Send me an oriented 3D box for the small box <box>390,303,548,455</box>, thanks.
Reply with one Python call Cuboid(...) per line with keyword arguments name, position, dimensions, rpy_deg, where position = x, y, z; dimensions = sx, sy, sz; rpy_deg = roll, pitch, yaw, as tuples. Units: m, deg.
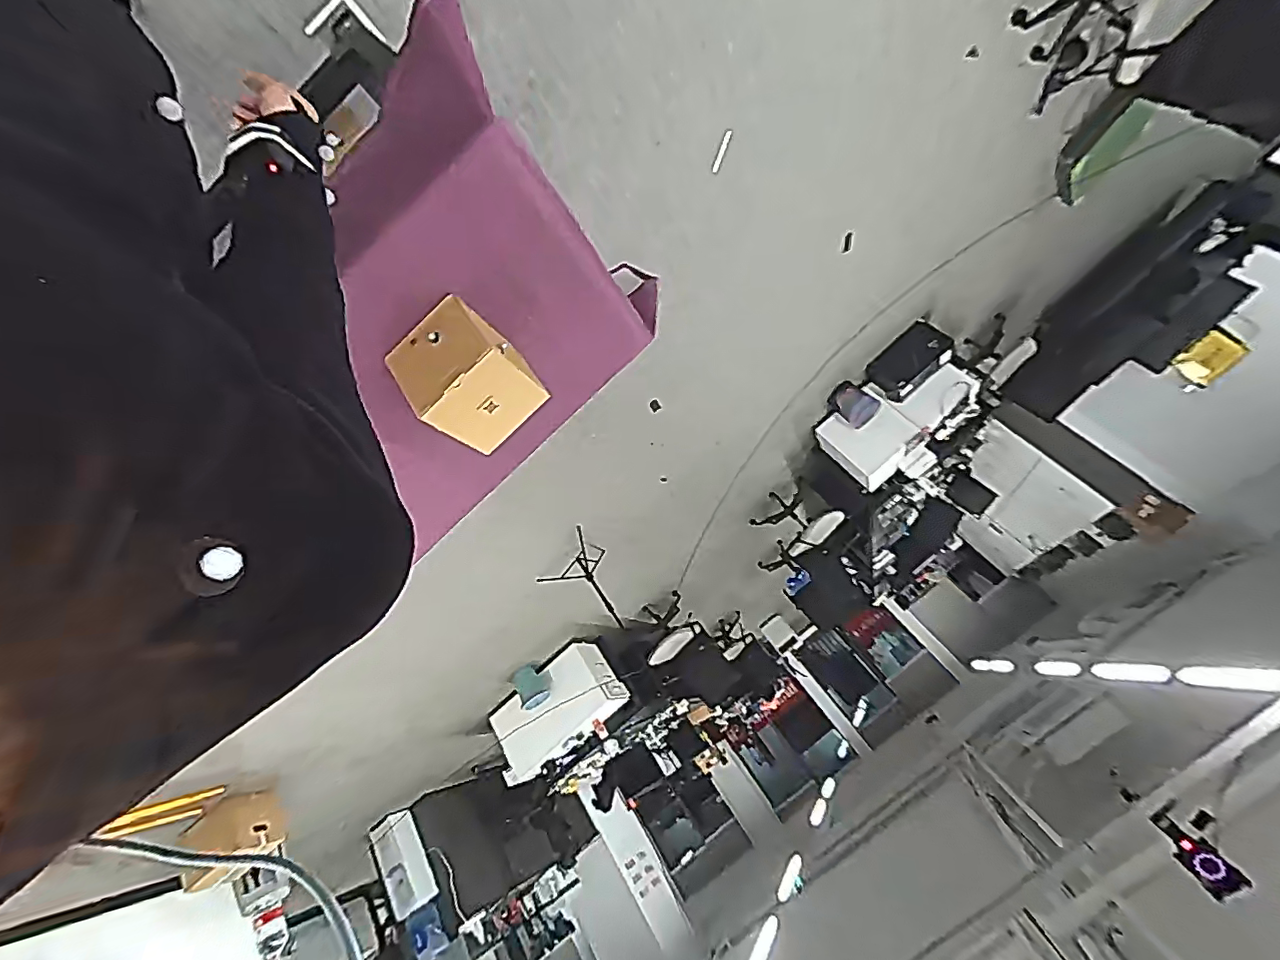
Cuboid(name="small box", position=(-0.304, -0.179, 0.966), dimensions=(0.168, 0.176, 0.179), rpy_deg=(-42, 151, 6))
